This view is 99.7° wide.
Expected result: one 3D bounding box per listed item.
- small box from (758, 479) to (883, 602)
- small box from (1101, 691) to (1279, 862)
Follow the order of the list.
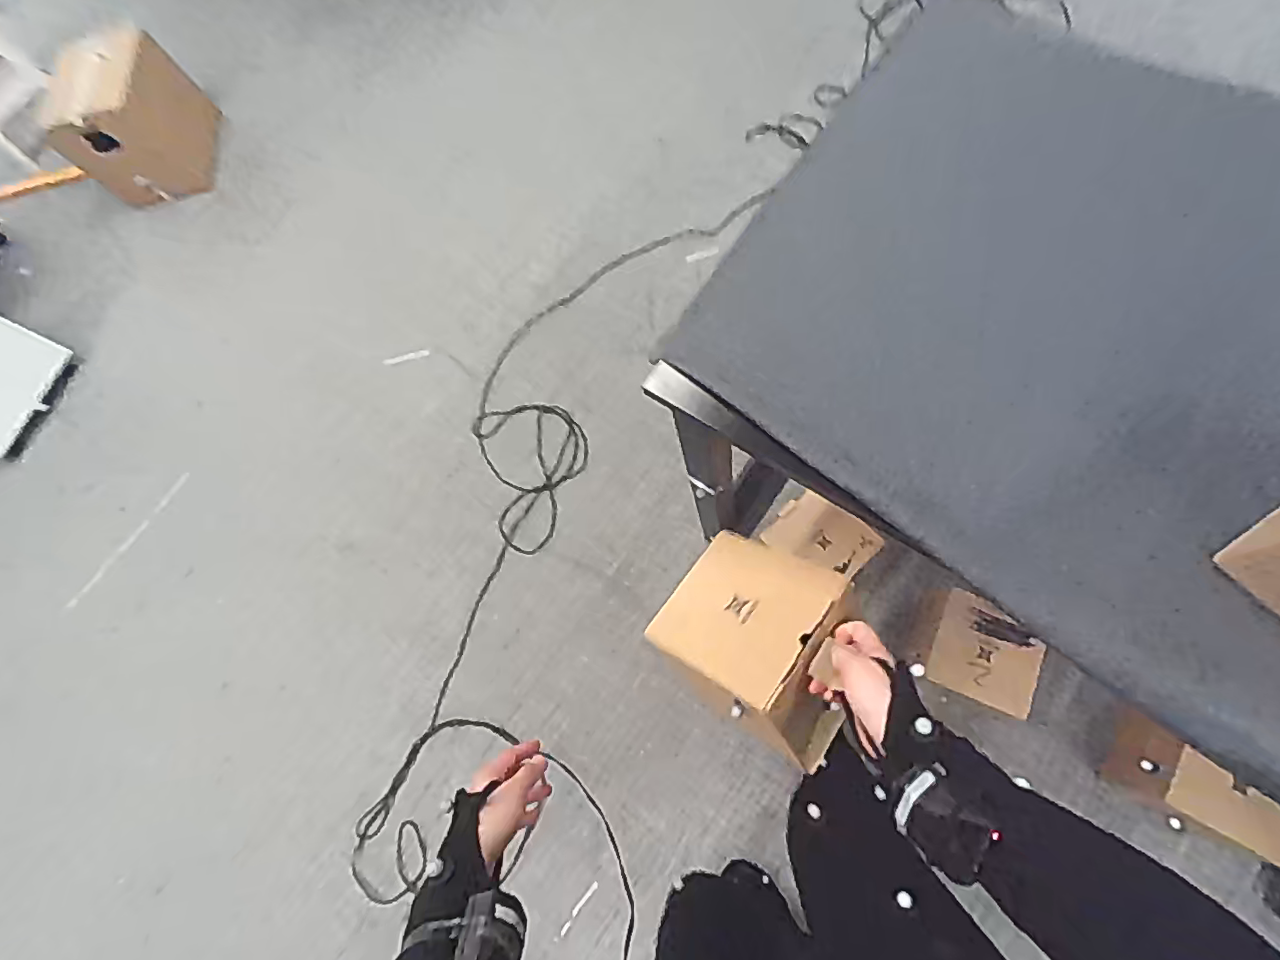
[{"bbox_3d":[0.361,0.134,1.121,0.168,0.176,0.179,-42,69,-5],"label":"small box"},{"bbox_3d":[0.925,0.475,0.900,0.168,0.176,0.179,28,78,17],"label":"small box"}]
